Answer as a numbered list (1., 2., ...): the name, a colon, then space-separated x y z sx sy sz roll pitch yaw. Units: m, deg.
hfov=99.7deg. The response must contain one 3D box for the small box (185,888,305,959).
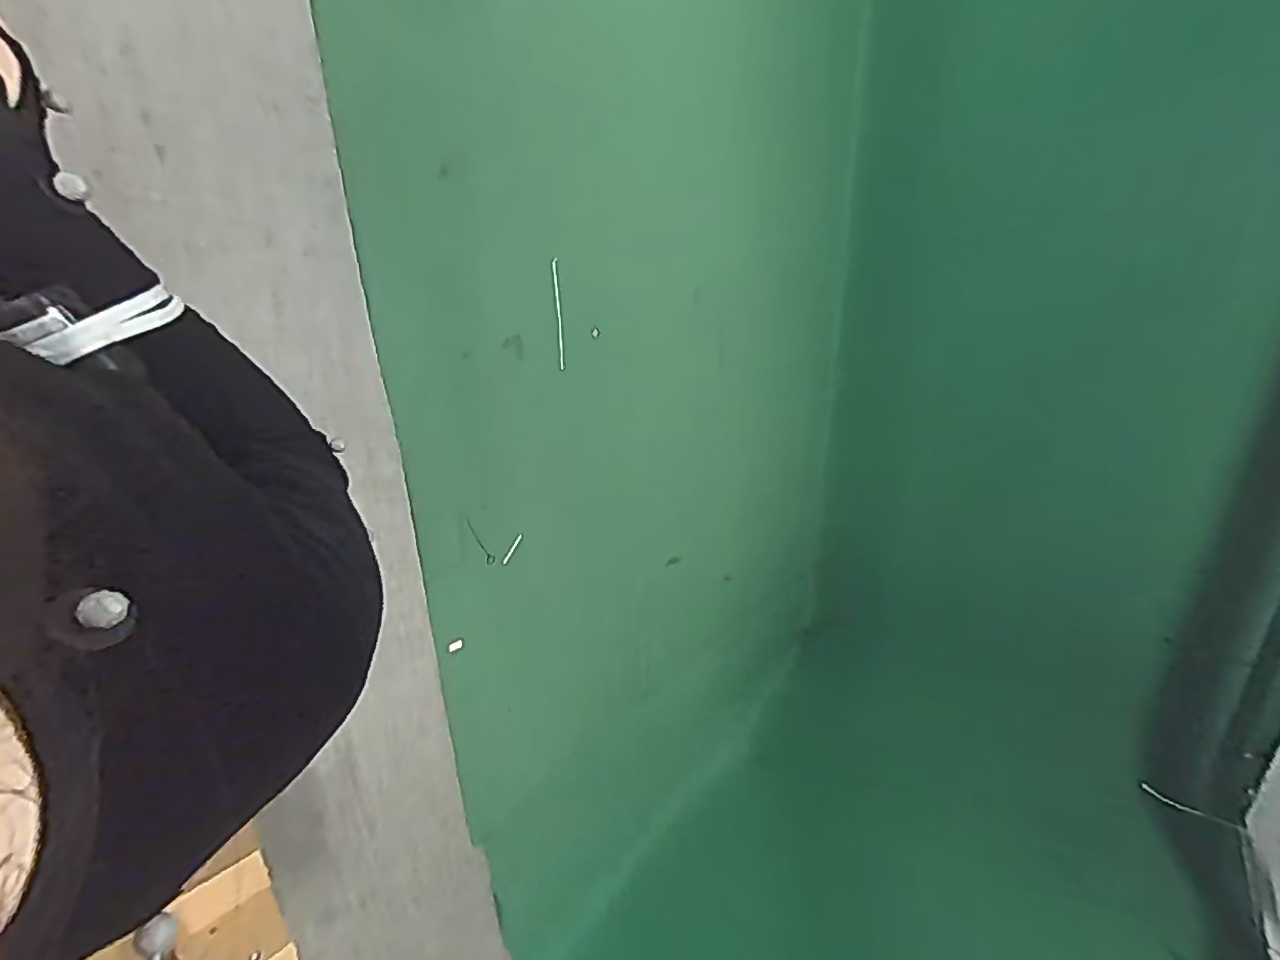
1. small box: -0.825 1.026 1.139 0.168 0.176 0.179 -16 116 -48

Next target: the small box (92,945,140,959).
1. small box: -0.970 0.977 0.944 0.168 0.176 0.179 -13 113 -46
